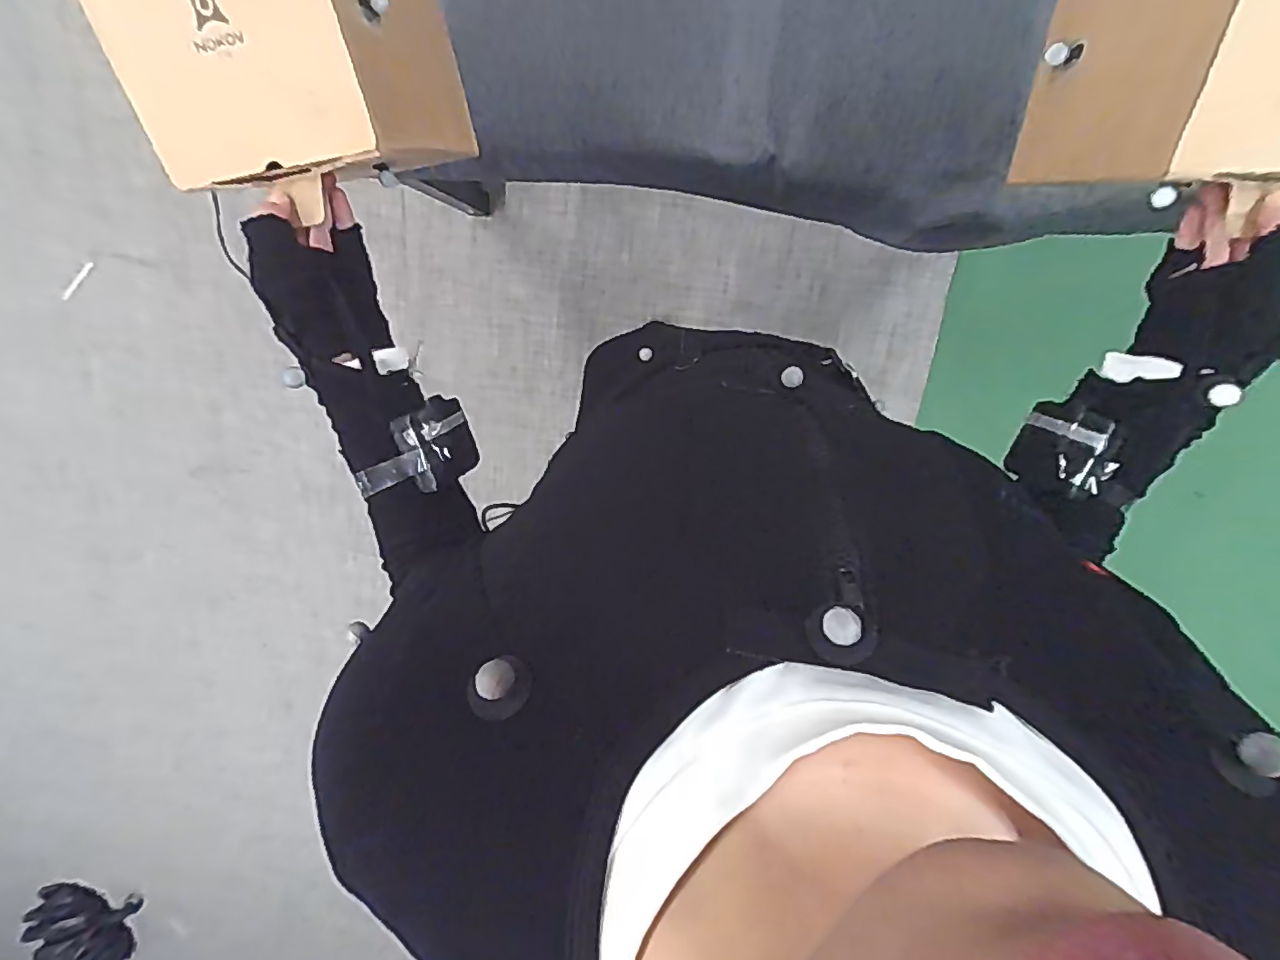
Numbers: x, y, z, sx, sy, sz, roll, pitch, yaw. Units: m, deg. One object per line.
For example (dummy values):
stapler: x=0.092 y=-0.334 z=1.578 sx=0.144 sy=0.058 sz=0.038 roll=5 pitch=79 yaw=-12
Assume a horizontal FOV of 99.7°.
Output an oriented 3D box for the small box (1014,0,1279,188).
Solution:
small box: x=0.401 y=-0.301 z=0.368 sx=0.168 sy=0.176 sz=0.179 roll=0 pitch=118 yaw=-1

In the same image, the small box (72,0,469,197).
small box: x=-0.248 y=-0.318 z=0.391 sx=0.168 sy=0.176 sz=0.179 roll=-4 pitch=119 yaw=11
